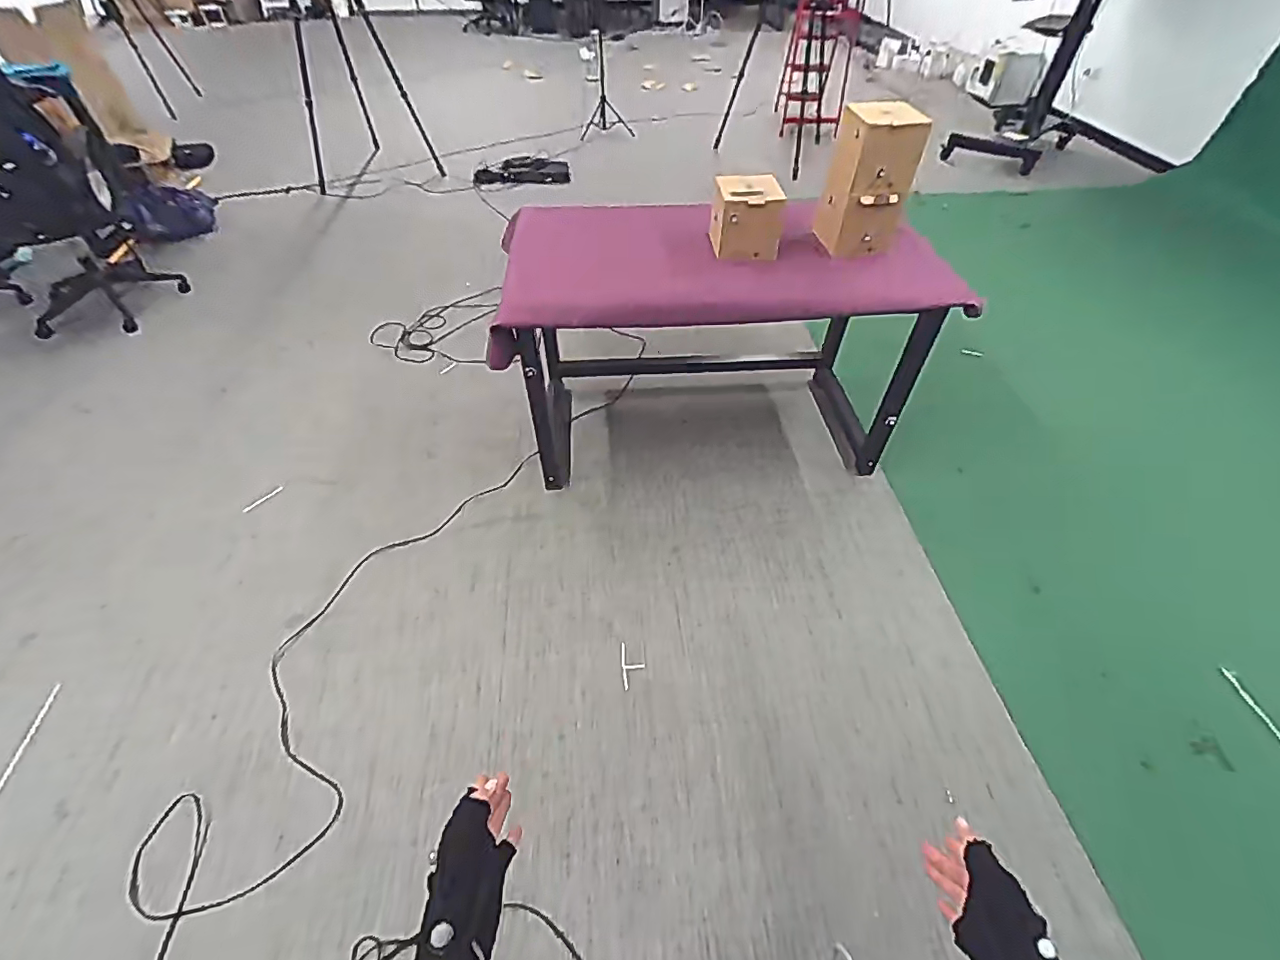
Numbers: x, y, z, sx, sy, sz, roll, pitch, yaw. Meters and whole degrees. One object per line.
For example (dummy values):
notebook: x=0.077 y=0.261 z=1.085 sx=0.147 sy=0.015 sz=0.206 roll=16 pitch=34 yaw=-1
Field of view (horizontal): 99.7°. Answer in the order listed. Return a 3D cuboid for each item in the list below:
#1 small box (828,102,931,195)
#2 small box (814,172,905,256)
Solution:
small box: x=0.615 y=-0.868 z=1.417 sx=0.168 sy=0.176 sz=0.179 roll=-5 pitch=50 yaw=-4
small box: x=0.613 y=-0.757 z=1.537 sx=0.168 sy=0.176 sz=0.179 roll=-6 pitch=49 yaw=-4
